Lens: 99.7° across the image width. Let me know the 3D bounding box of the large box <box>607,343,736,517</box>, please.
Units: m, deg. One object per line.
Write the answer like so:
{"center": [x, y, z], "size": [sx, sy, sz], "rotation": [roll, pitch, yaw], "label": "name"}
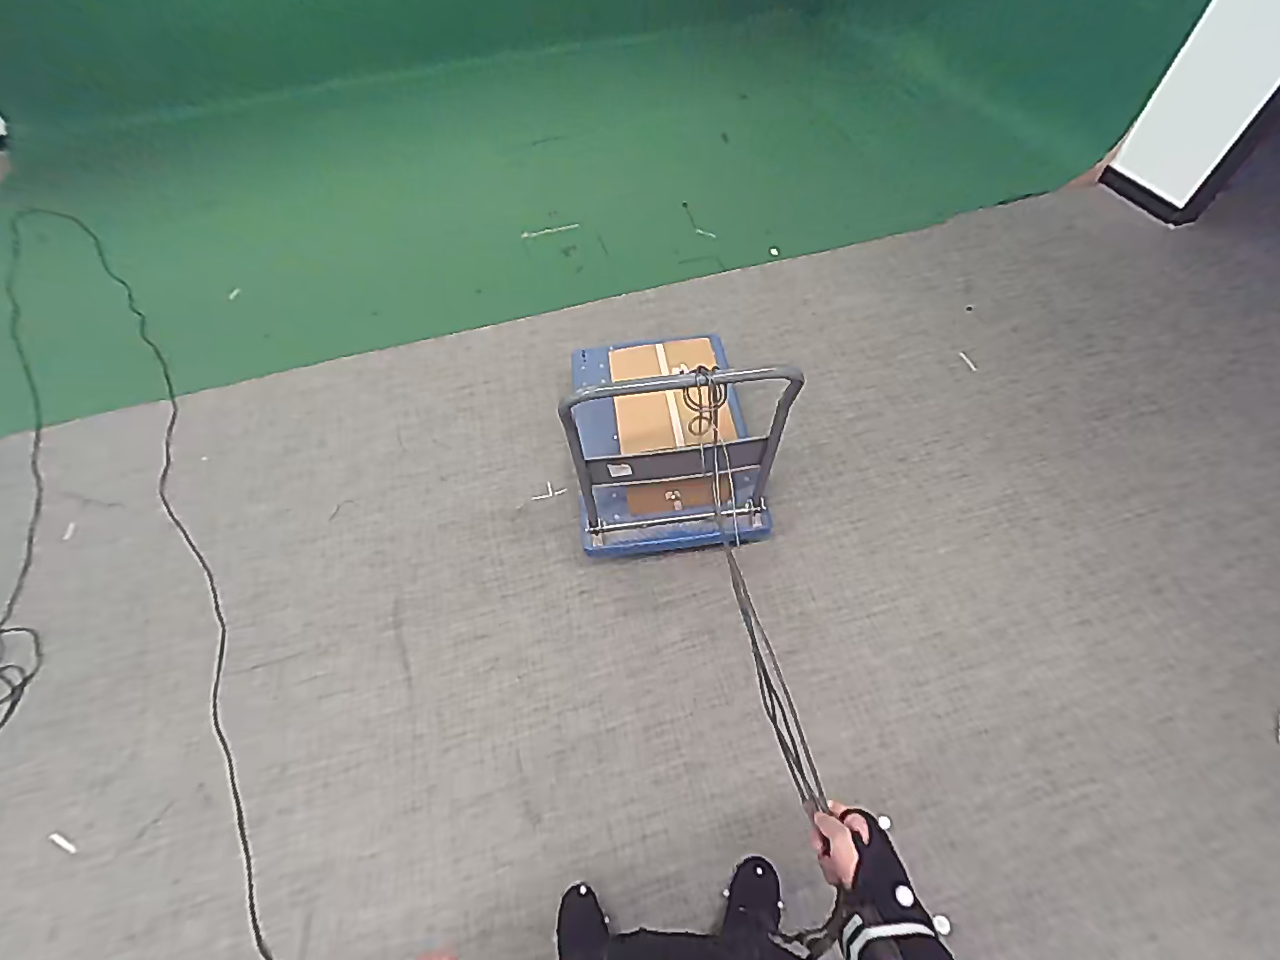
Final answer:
{"center": [0.088, -0.150, 1.643], "size": [0.320, 0.320, 0.408], "rotation": [-8, 55, -1], "label": "large box"}
